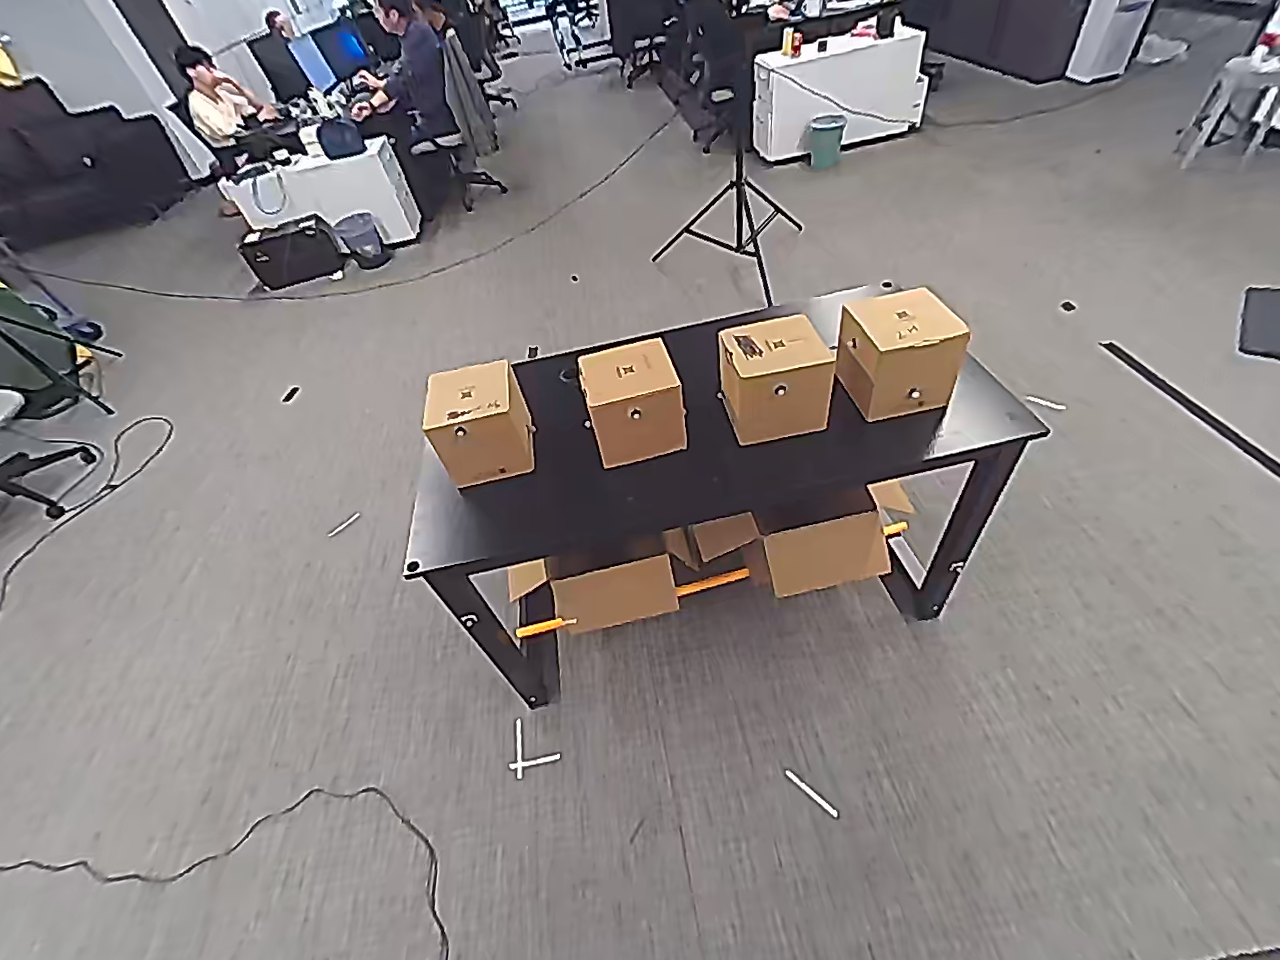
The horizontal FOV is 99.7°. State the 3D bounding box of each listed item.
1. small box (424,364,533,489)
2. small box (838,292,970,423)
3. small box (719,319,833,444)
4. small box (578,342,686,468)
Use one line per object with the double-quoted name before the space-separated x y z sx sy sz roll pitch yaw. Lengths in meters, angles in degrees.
"small box" -0.322 -0.109 1.111 0.168 0.176 0.179 -13 46 -1
"small box" 0.502 -0.239 1.063 0.168 0.176 0.179 -12 46 2
"small box" 0.262 -0.189 1.066 0.179 0.176 0.168 -11 46 1
"small box" -0.014 -0.146 1.087 0.179 0.176 0.168 -14 48 -3
